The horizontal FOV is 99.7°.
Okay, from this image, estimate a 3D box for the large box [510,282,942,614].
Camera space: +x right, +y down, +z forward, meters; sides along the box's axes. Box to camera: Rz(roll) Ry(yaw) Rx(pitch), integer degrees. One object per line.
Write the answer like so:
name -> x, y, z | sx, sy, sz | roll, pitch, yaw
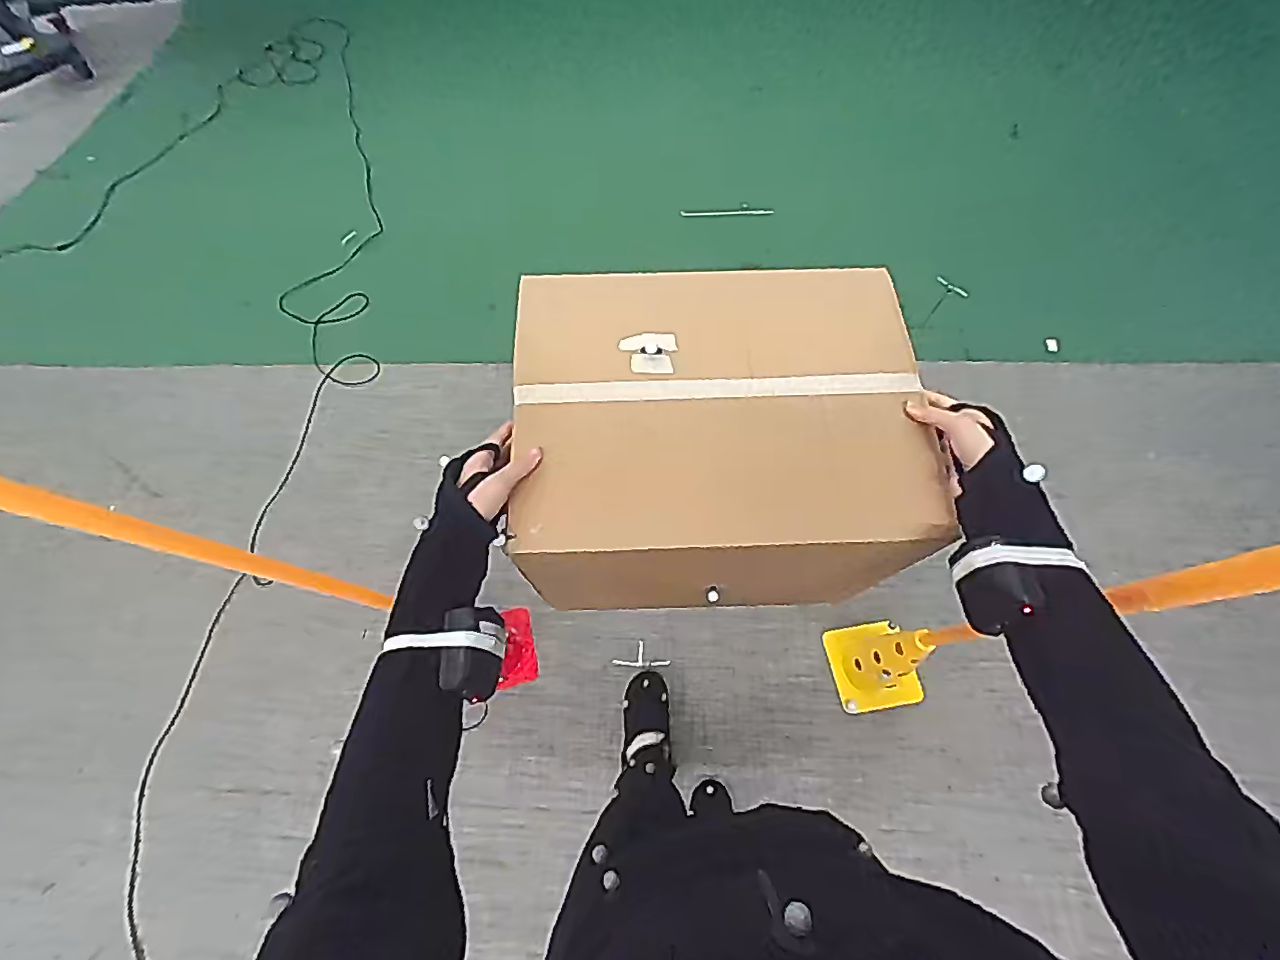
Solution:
large box -> 0.075, -0.014, 0.685 | 0.408, 0.320, 0.320 | -2, 66, 0
